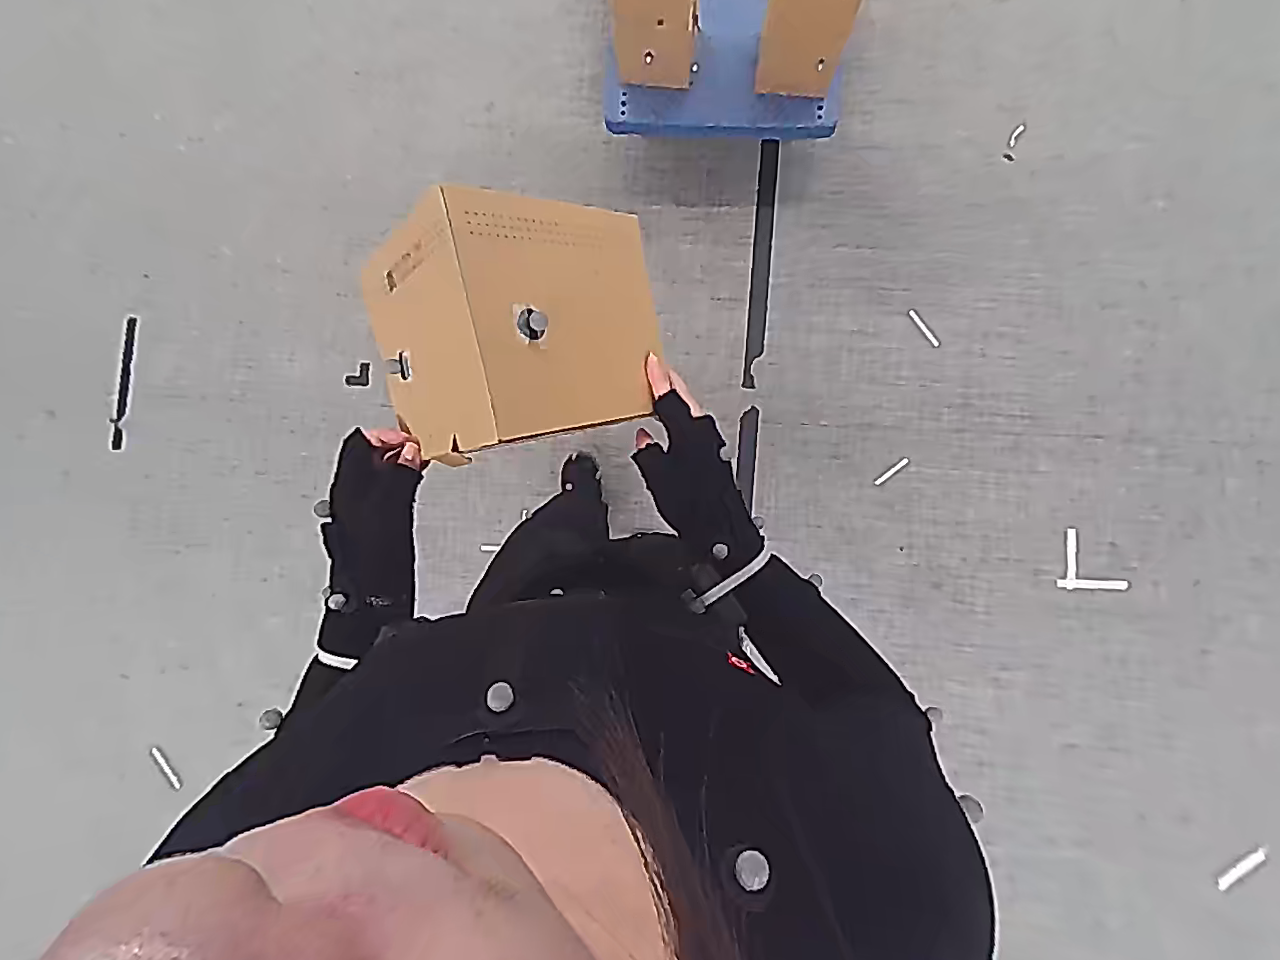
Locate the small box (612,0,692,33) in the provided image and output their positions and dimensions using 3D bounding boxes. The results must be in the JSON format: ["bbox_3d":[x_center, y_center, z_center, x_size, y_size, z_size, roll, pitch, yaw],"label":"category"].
[{"bbox_3d":[0.026,-1.059,1.087,0.168,0.176,0.179,5,88,4],"label":"small box"}]

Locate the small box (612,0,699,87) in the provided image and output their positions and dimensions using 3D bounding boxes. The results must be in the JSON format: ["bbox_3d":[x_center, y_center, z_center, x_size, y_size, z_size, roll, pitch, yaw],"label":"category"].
[{"bbox_3d":[0.041,-1.052,1.251,0.179,0.176,0.168,8,89,5],"label":"small box"}]

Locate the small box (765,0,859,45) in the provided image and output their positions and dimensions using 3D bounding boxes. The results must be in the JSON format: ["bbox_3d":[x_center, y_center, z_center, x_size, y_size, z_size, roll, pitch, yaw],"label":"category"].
[{"bbox_3d":[0.353,-1.009,1.067,0.179,0.176,0.168,9,89,3],"label":"small box"}]

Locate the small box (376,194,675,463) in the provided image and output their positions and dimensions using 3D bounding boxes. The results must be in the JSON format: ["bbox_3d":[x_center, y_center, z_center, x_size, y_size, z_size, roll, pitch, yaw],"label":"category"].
[{"bbox_3d":[-0.099,-0.119,0.462,0.168,0.179,0.176,-5,99,47],"label":"small box"}]
